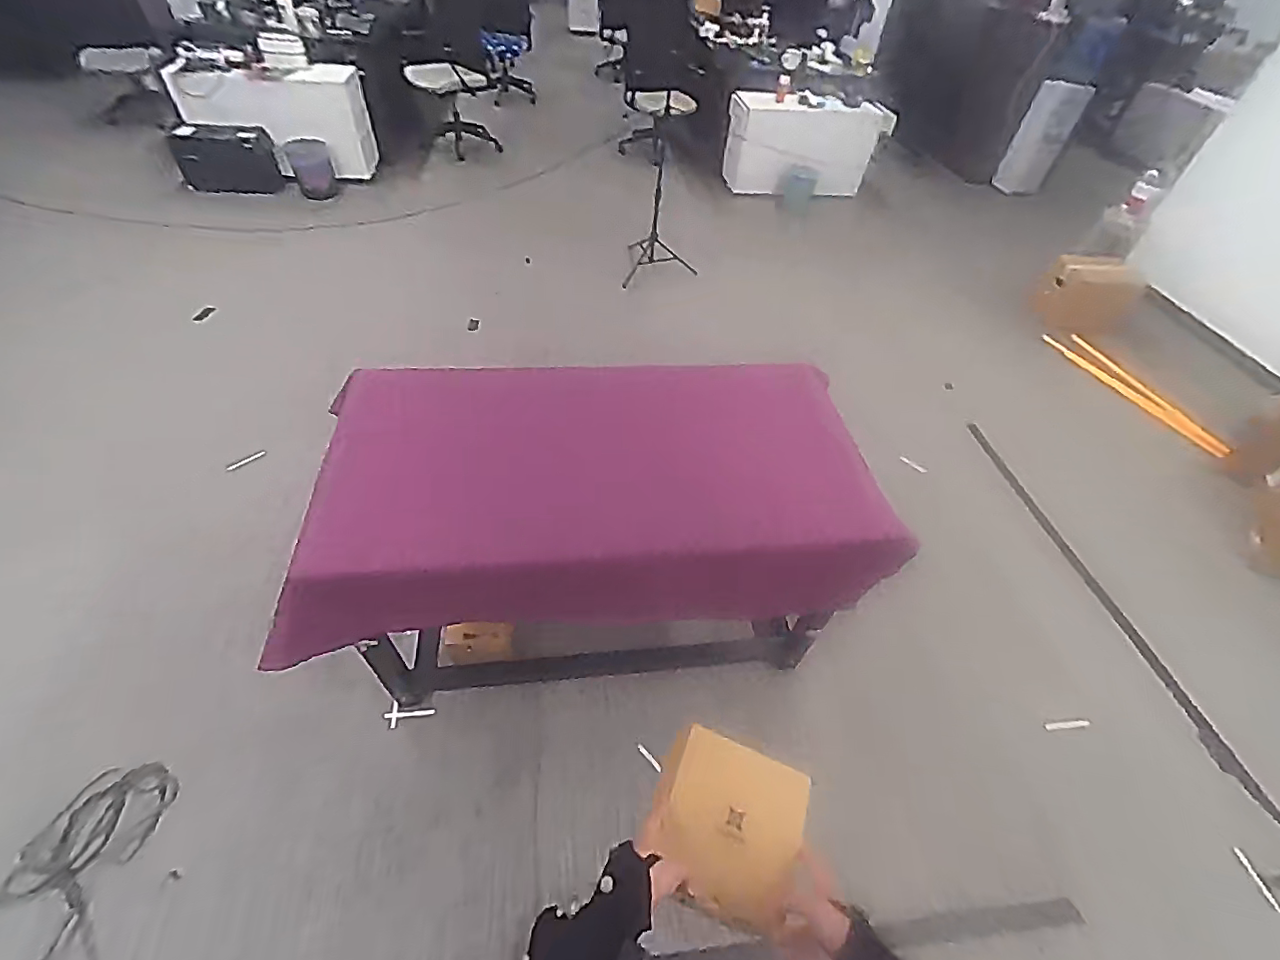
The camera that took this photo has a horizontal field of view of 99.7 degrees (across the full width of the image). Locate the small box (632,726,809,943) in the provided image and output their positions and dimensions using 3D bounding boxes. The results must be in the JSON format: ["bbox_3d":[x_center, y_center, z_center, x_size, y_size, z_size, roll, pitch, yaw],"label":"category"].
[{"bbox_3d":[0.099,0.458,0.709,0.168,0.176,0.179,22,54,6],"label":"small box"}]
